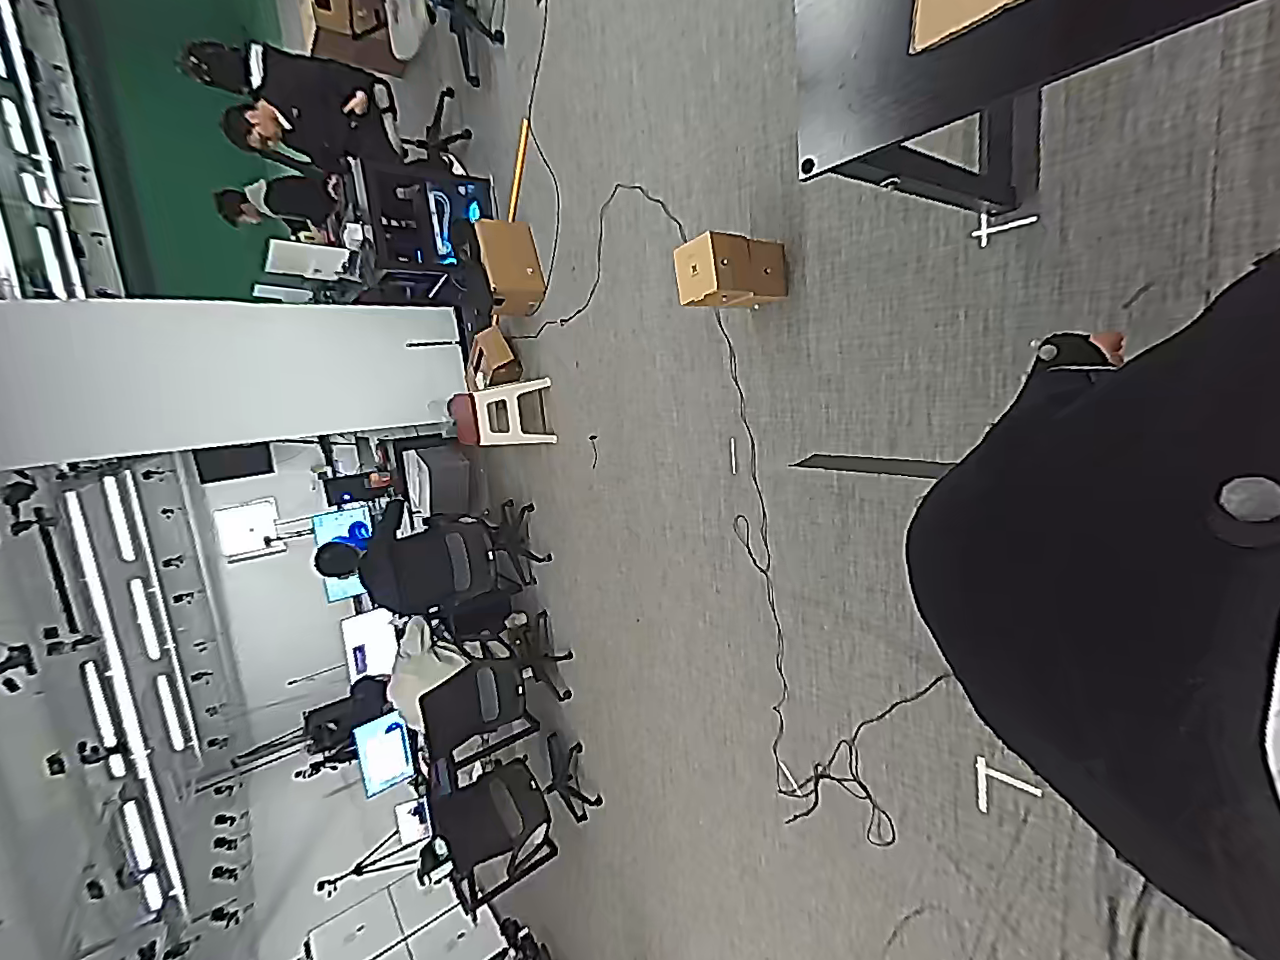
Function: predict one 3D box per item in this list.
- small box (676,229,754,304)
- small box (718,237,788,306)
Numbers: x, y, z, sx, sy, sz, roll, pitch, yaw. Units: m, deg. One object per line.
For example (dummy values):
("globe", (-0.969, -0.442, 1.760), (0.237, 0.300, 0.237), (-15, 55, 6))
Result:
("small box", (0.237, -0.660, 1.688), (0.168, 0.176, 0.179), (-2, 97, 53))
("small box", (0.367, -0.682, 1.785), (0.168, 0.176, 0.179), (2, 102, 53))
